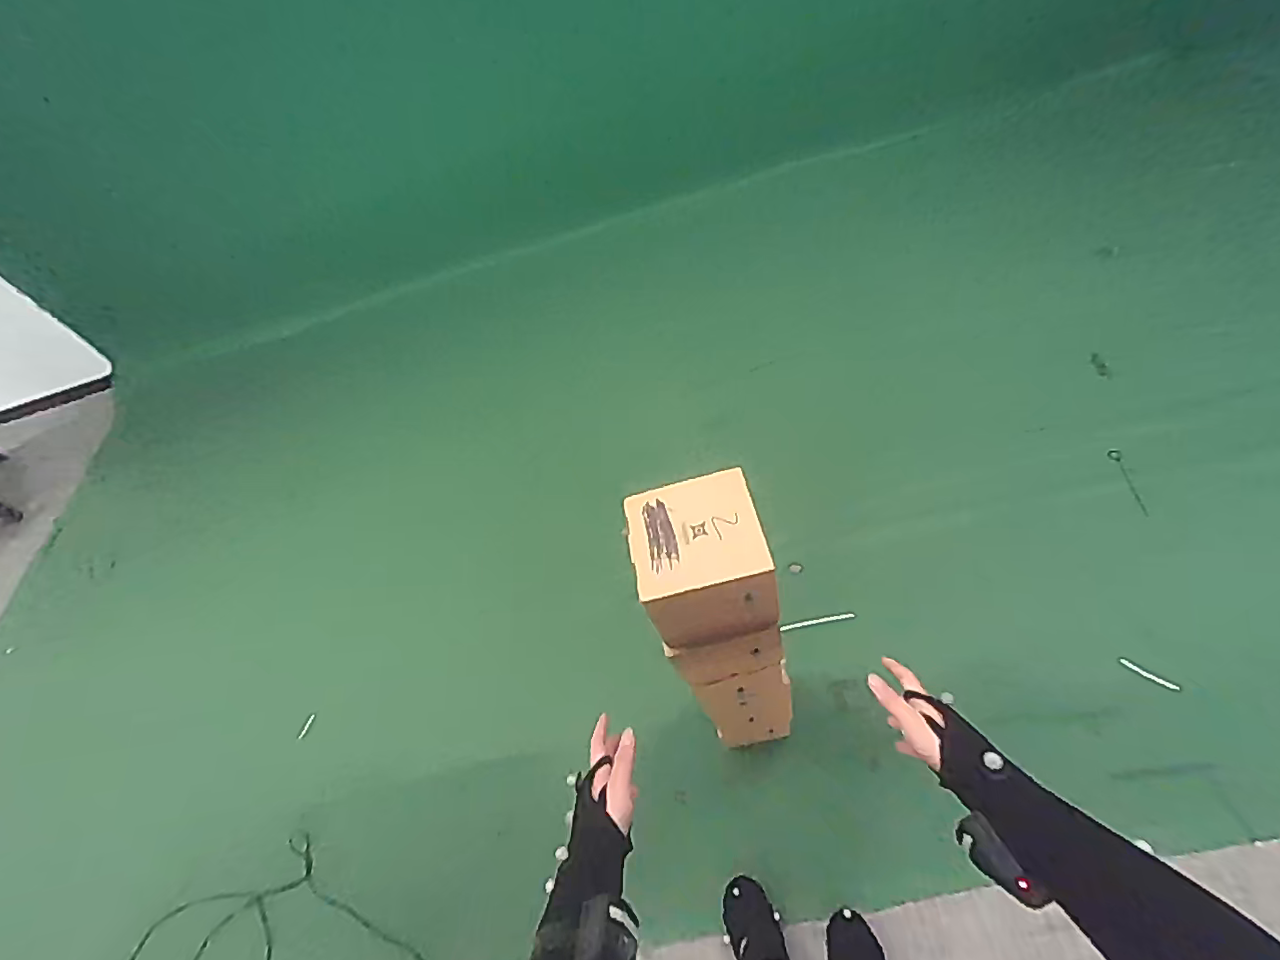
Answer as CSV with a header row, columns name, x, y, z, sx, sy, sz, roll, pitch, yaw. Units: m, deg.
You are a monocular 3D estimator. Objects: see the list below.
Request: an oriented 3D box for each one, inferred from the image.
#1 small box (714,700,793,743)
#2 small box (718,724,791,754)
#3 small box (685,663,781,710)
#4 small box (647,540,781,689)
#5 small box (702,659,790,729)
name,x,y,z,sx,sy,sz,roll,pitch,yaw
small box,0.251,0.507,1.281,0.179,0.176,0.168,-17,53,5
small box,0.284,0.602,1.409,0.179,0.176,0.168,-15,53,6
small box,0.163,0.323,1.026,0.168,0.176,0.179,-17,53,5
small box,0.126,0.228,0.897,0.179,0.176,0.168,-17,51,6
small box,0.209,0.414,1.153,0.179,0.176,0.168,-18,53,3
